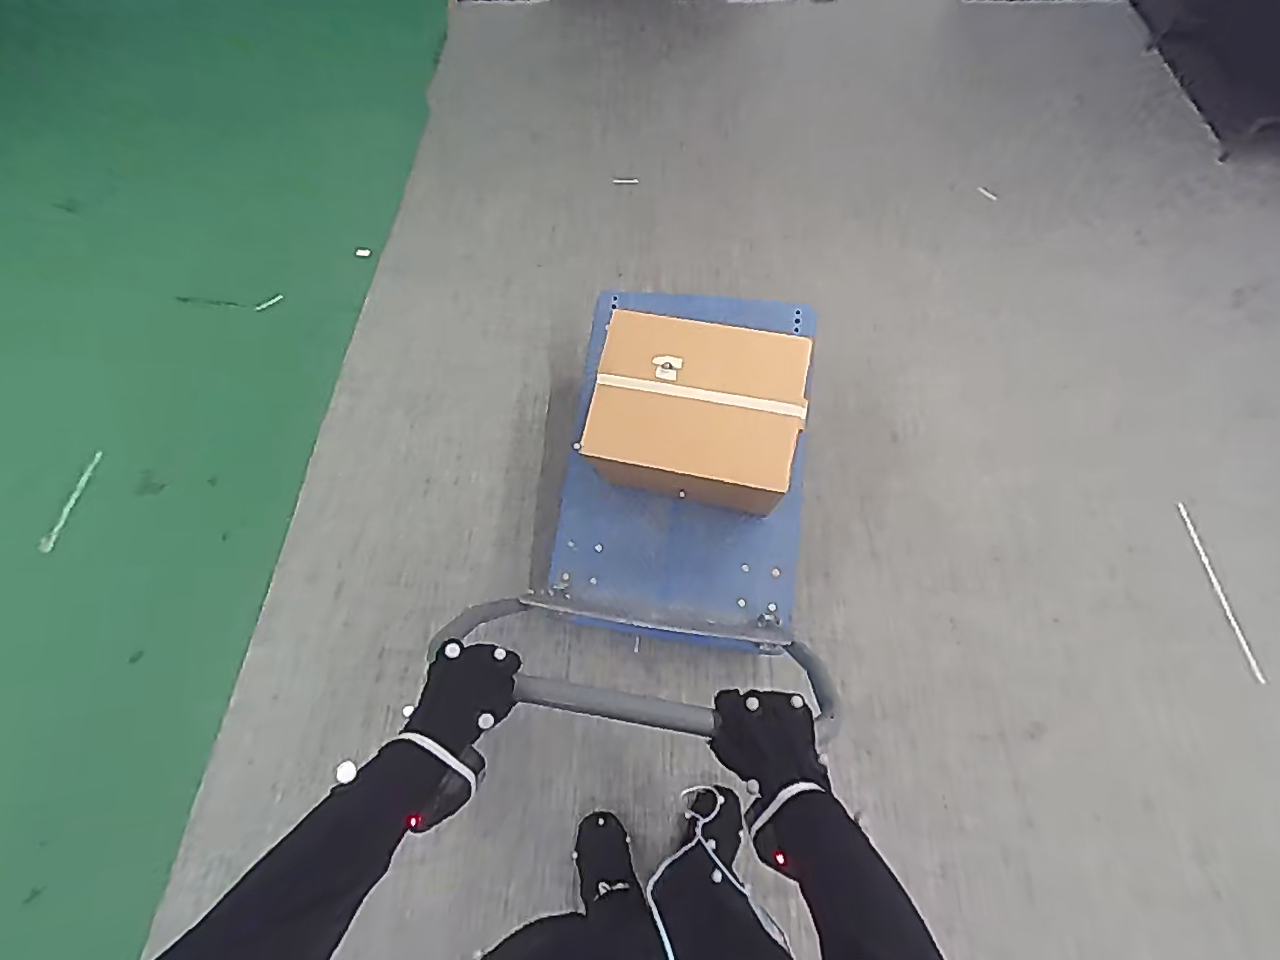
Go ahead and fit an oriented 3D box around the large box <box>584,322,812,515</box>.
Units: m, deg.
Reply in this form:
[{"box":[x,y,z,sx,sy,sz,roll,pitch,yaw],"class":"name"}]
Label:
[{"box":[0.133,-0.118,1.191,0.408,0.320,0.320,10,79,10],"class":"large box"}]
